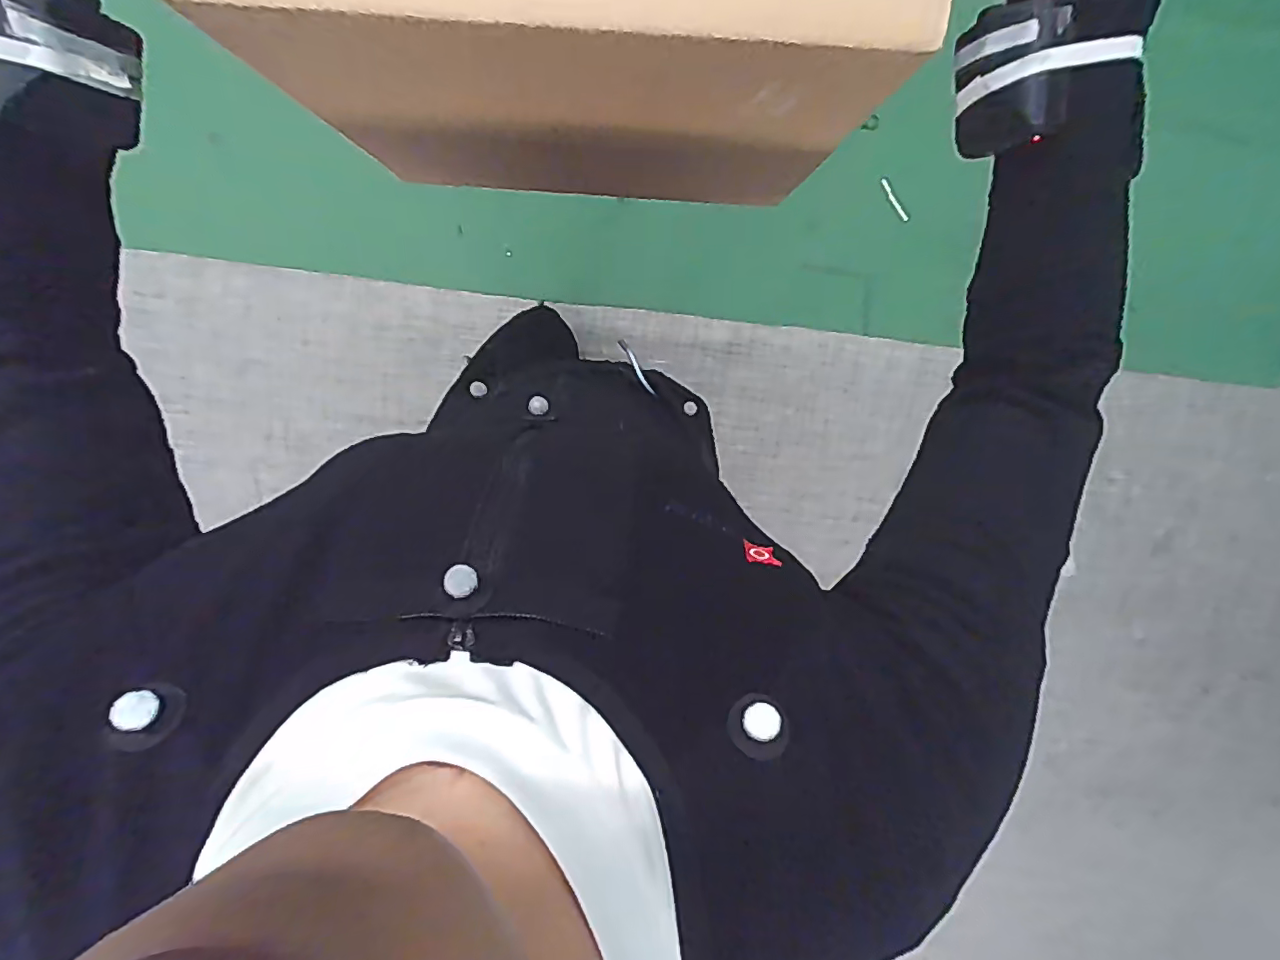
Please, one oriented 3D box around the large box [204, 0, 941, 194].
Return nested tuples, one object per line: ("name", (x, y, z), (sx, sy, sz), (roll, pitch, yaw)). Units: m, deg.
("large box", (-0.036, -0.426, 0.400), (0.408, 0.320, 0.320), (2, 104, -2))
